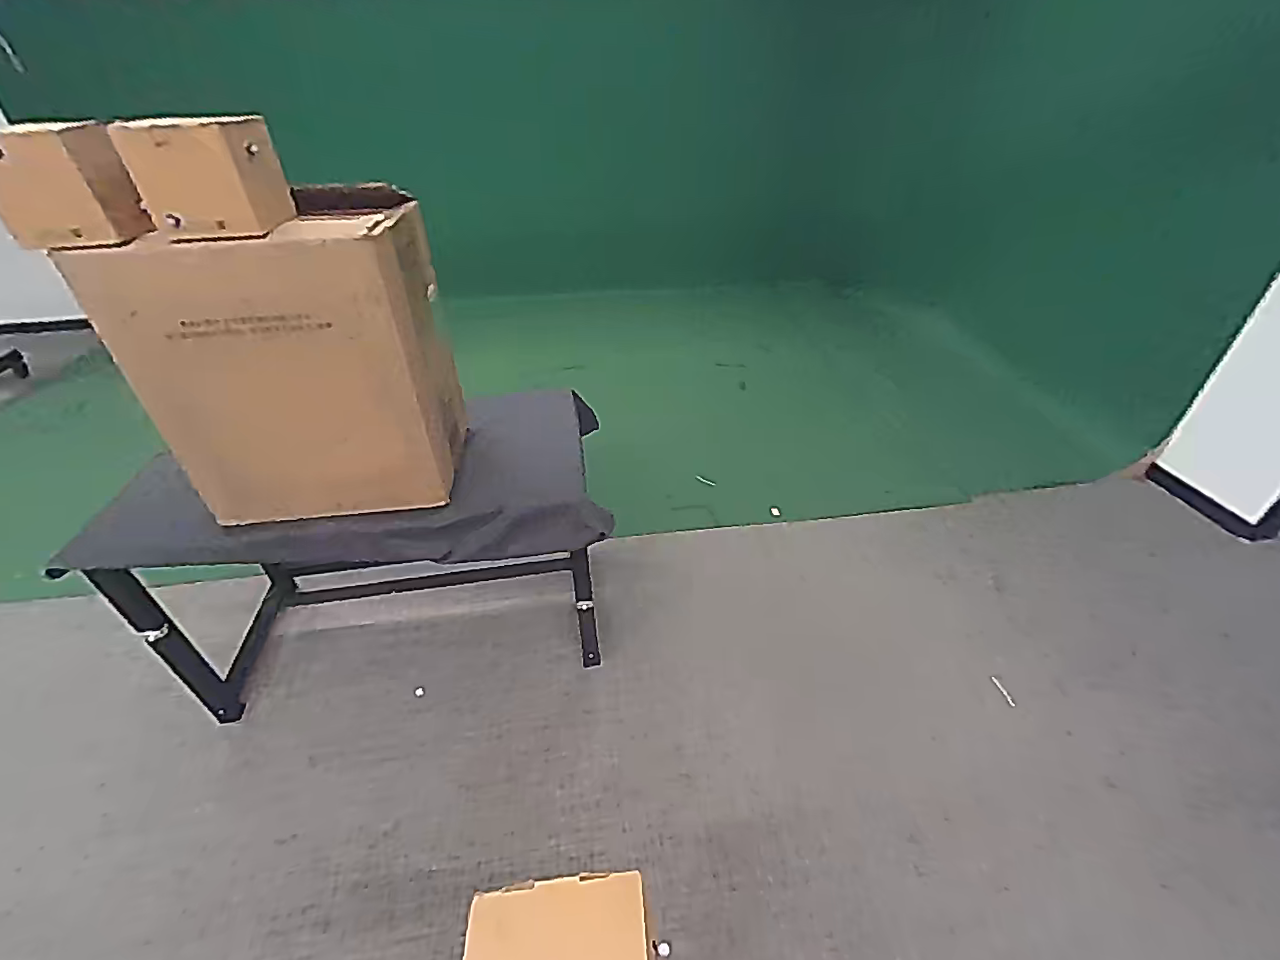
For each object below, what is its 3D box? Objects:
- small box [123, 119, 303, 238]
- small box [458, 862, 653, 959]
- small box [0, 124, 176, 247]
[{"bbox_3d":[-0.744,-0.540,0.971,0.168,0.176,0.179,-5,36,-6],"label":"small box"},{"bbox_3d":[-0.072,0.494,0.500,0.168,0.176,0.179,-7,35,0],"label":"small box"},{"bbox_3d":[-0.965,-0.517,0.948,0.168,0.176,0.179,-6,37,-2],"label":"small box"}]
